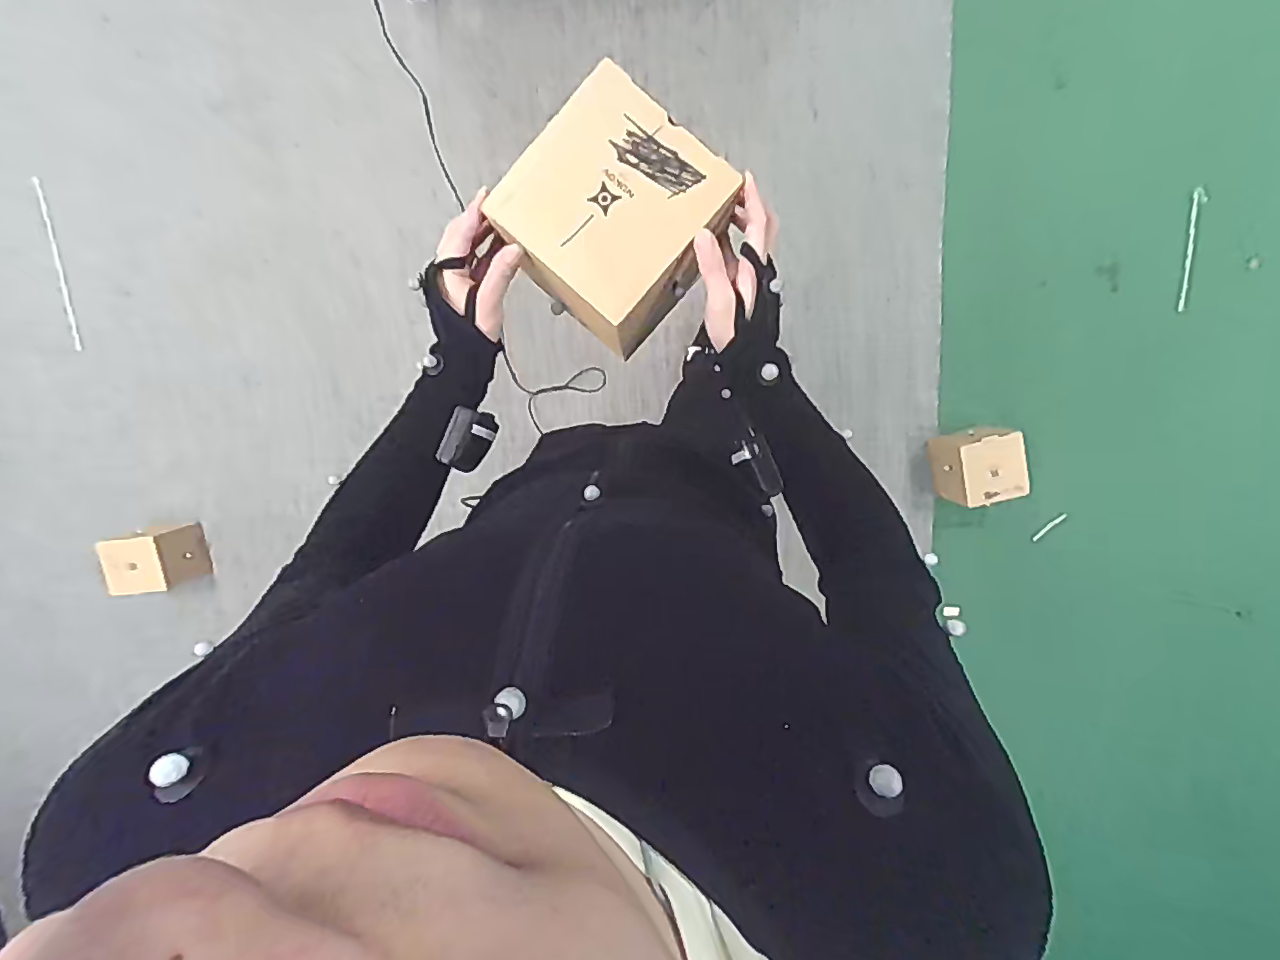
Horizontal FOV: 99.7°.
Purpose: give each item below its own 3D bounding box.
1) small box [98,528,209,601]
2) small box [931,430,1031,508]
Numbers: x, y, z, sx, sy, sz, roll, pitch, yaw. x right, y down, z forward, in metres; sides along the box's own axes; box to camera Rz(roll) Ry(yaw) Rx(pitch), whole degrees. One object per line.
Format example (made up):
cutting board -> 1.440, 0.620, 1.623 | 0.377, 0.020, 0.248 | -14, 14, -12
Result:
small box -> -1.450, 0.248, 1.628 | 0.179, 0.176, 0.168 | -7, 99, 3
small box -> 0.934, -0.038, 1.497 | 0.168, 0.176, 0.179 | -14, 99, 4
